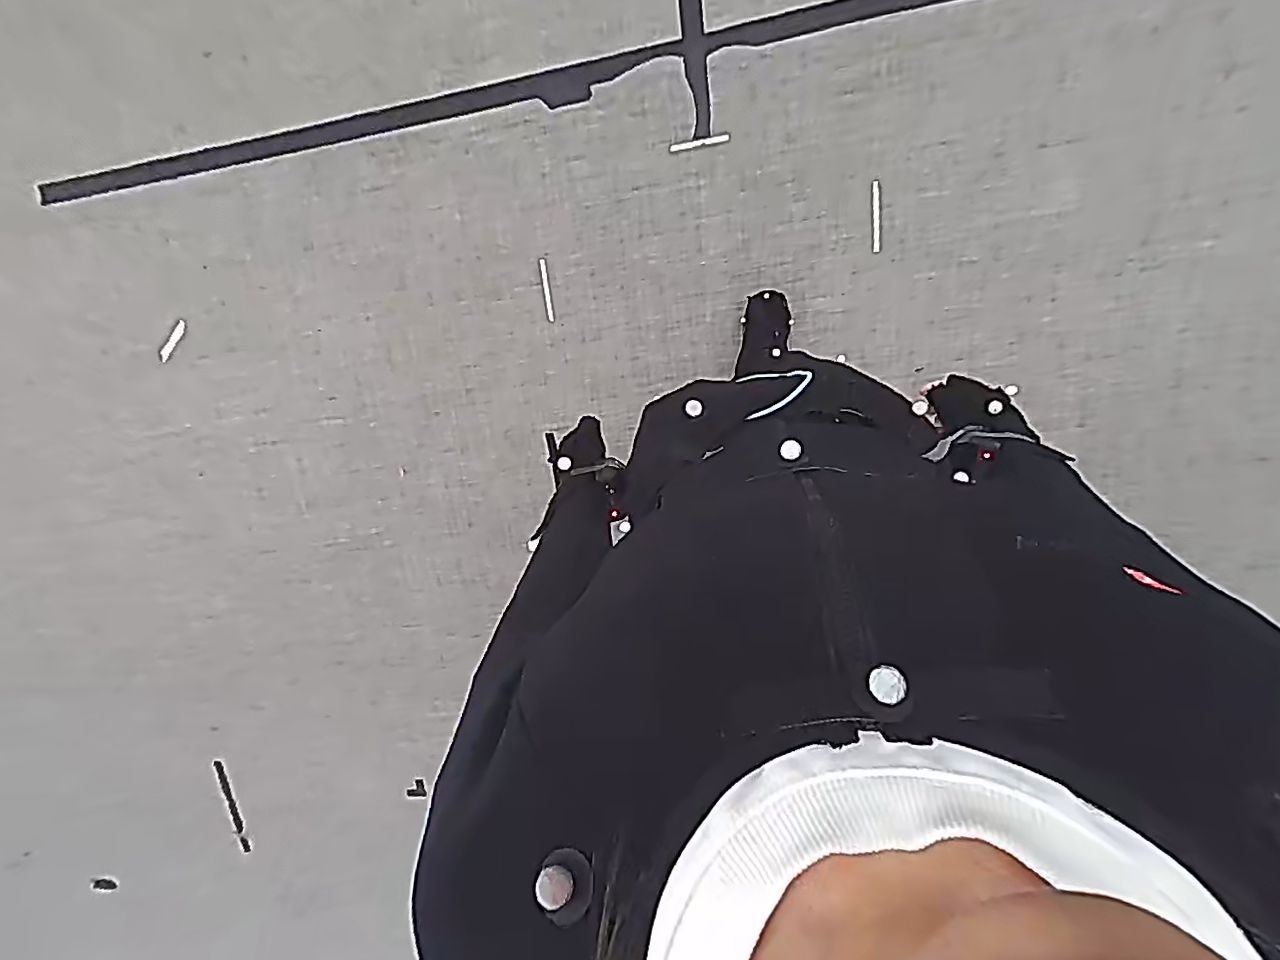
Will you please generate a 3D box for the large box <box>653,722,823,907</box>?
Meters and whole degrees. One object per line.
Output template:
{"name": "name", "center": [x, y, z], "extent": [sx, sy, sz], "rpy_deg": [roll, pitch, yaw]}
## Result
{"name": "large box", "center": [0.265, 0.933, 1.536], "extent": [0.408, 0.320, 0.320], "rpy_deg": [-9, 105, 7]}
